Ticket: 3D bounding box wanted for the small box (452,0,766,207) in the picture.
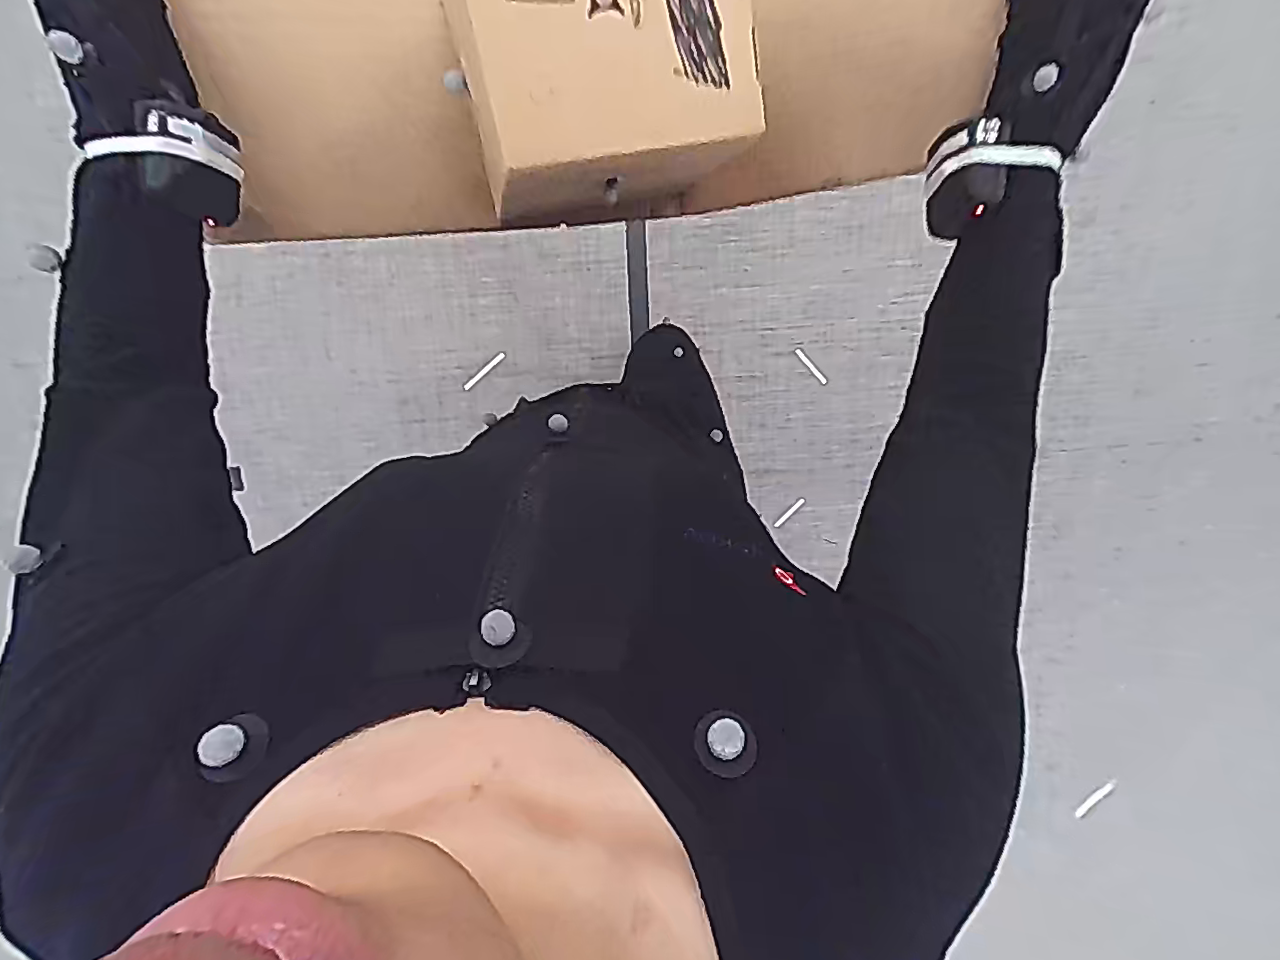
[{"bbox_3d":[-0.032,-0.312,0.391,0.179,0.176,0.168,-15,108,-11],"label":"small box"}]
